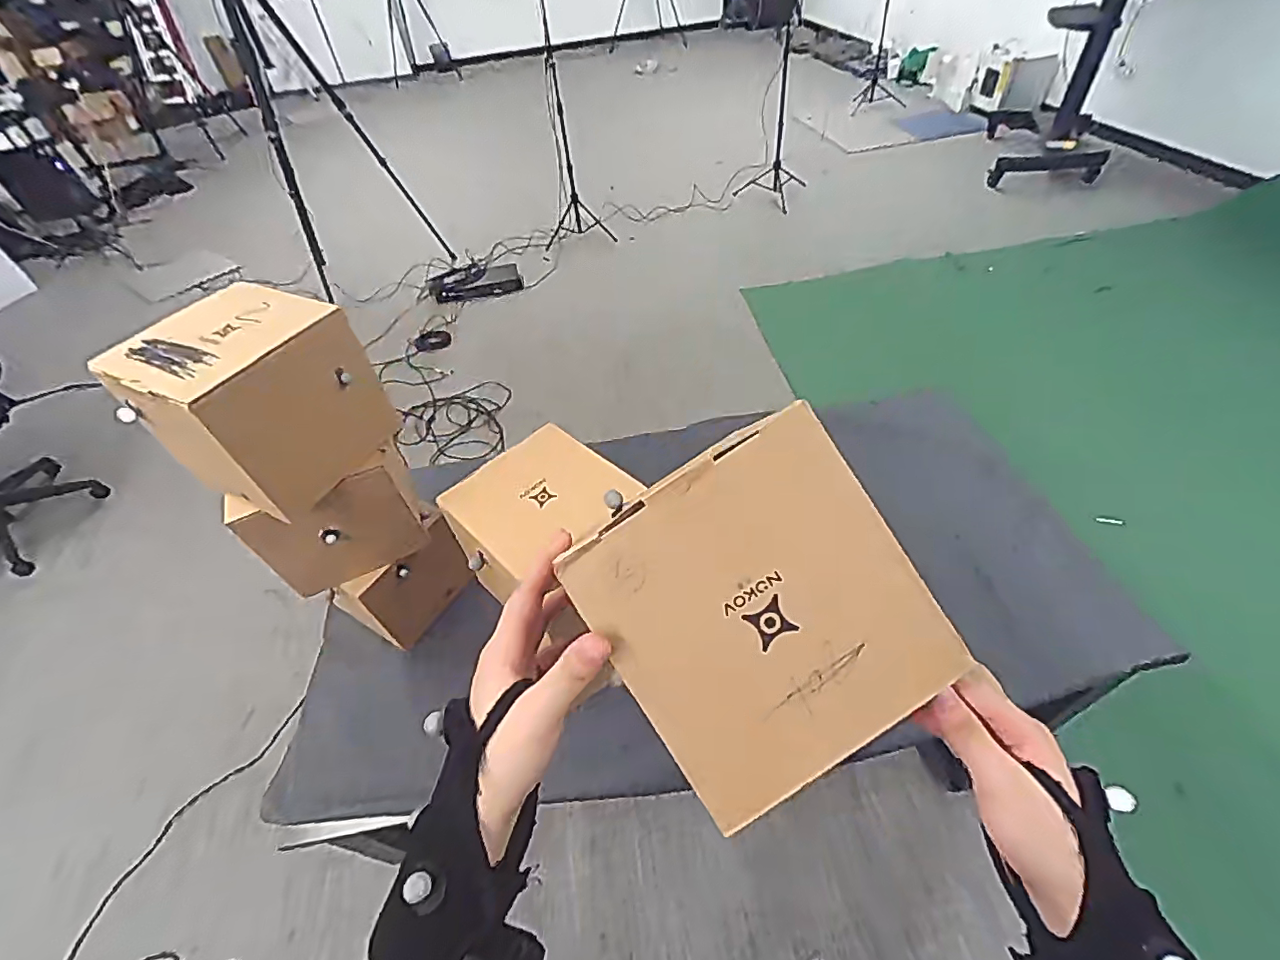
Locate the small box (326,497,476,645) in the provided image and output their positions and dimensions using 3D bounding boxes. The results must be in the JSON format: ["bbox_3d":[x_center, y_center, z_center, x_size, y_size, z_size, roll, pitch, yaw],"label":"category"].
[{"bbox_3d":[-0.394,0.130,0.850,0.179,0.176,0.168,21,54,24],"label":"small box"}]

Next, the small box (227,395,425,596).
[{"bbox_3d":[-0.408,0.022,0.725,0.179,0.176,0.168,-24,50,-14],"label":"small box"}]

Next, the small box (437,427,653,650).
[{"bbox_3d":[-0.100,0.074,0.642,0.179,0.176,0.168,34,59,32],"label":"small box"}]

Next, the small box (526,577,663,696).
[{"bbox_3d":[-0.080,0.178,0.766,0.168,0.176,0.179,-29,50,-19],"label":"small box"}]
